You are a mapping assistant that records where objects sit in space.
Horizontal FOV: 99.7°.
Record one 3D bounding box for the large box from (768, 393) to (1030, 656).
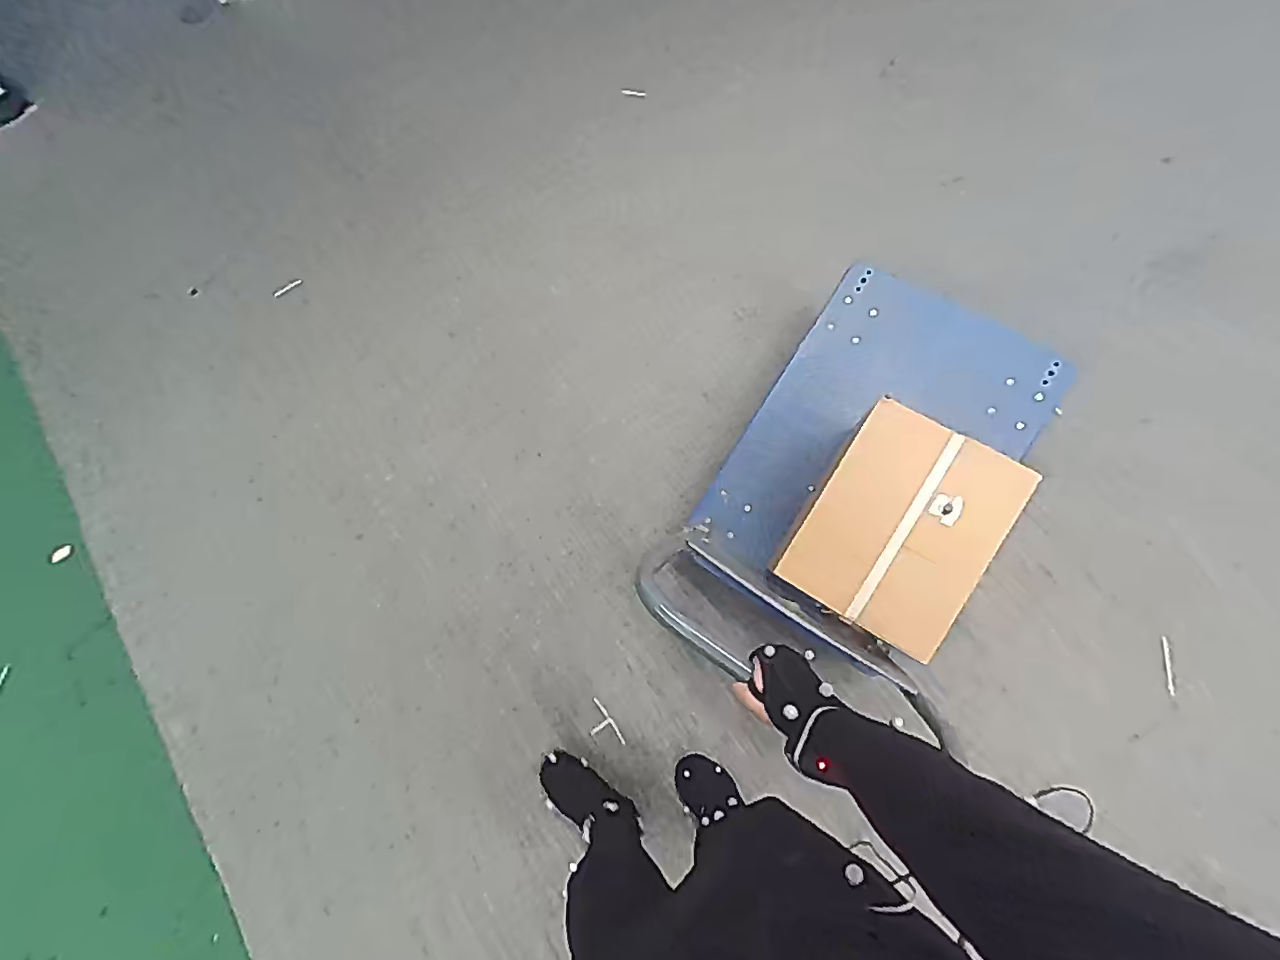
[{"bbox_3d":[0.507,0.095,1.151,0.320,0.320,0.408,32,90,12],"label":"large box"}]
